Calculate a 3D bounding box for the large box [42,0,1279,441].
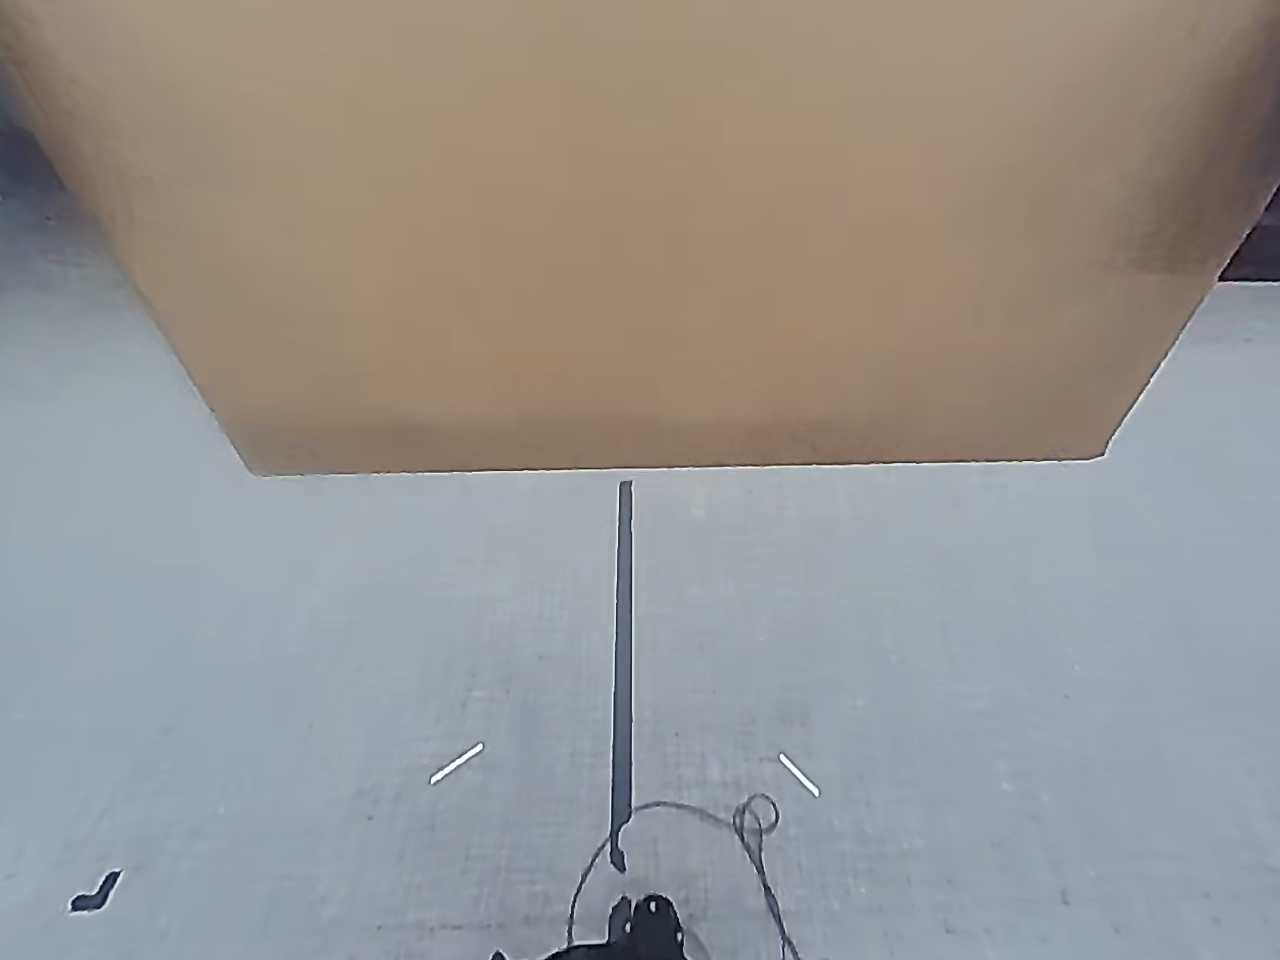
[{"bbox_3d":[0.013,-0.231,0.286,0.408,0.320,0.320,0,40,0],"label":"large box"}]
